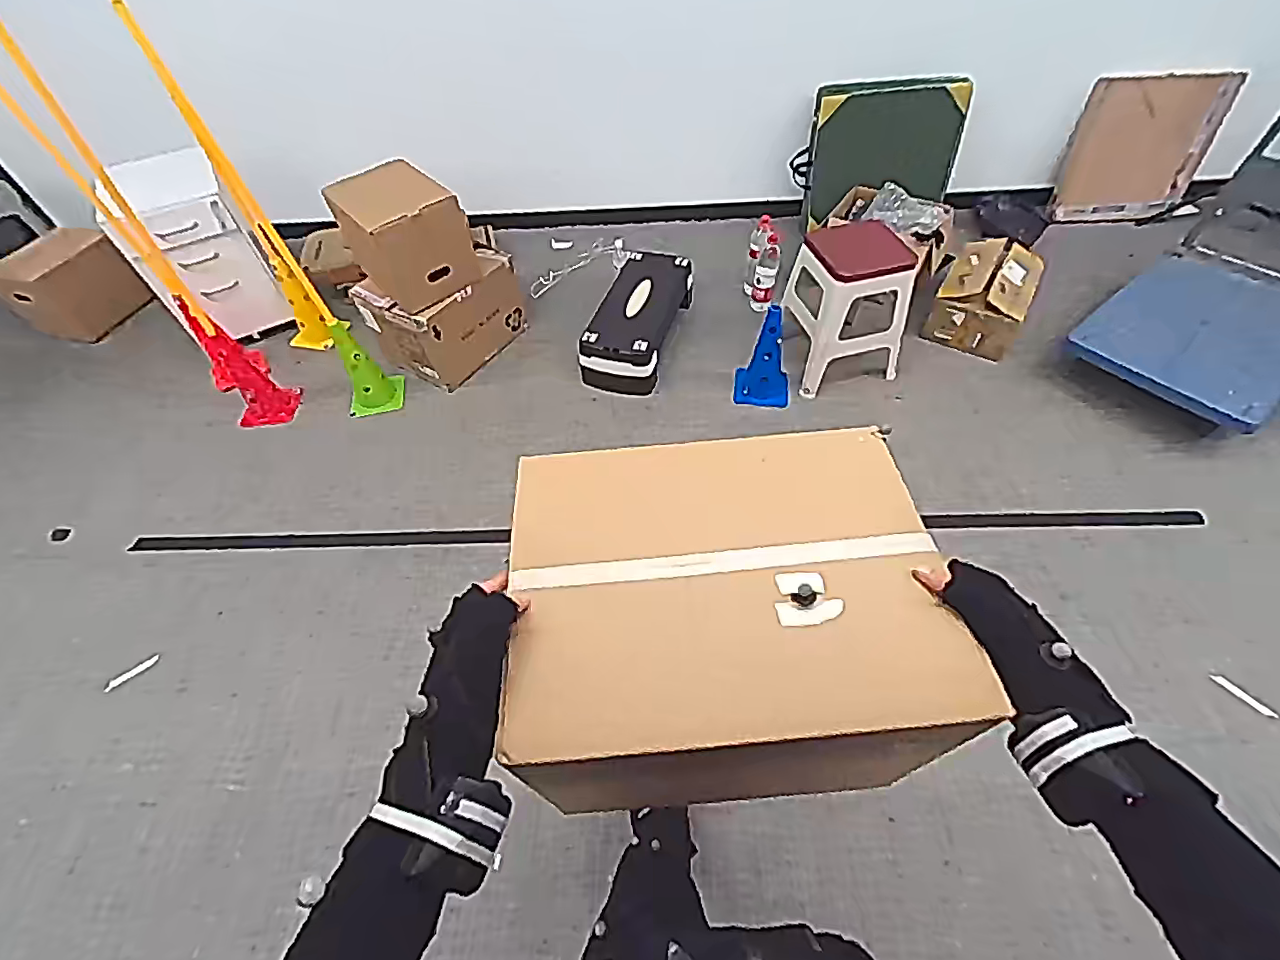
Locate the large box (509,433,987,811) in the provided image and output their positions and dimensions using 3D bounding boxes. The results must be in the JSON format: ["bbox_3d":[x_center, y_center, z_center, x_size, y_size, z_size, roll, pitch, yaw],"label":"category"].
[{"bbox_3d":[0.082,0.175,0.645,0.408,0.320,0.320,-5,52,-1],"label":"large box"}]
